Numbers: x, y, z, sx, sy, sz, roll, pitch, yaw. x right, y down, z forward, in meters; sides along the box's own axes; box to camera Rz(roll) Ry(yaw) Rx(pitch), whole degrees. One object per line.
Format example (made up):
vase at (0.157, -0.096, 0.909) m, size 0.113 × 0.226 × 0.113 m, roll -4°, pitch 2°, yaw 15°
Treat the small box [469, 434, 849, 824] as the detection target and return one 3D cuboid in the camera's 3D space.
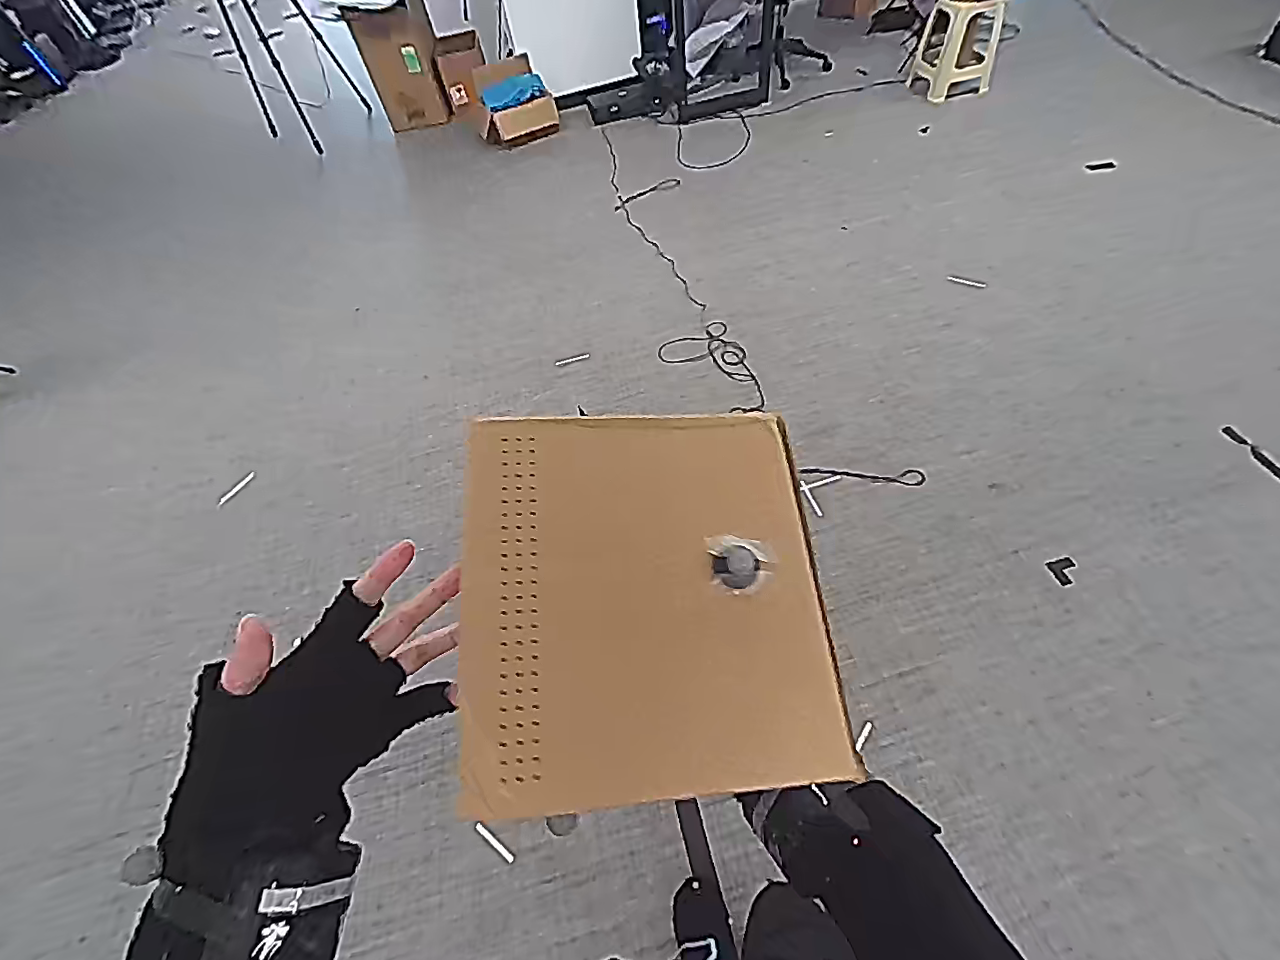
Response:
small box at (-0.008, 0.086, 0.330) m, size 0.176 × 0.168 × 0.179 m, roll -2°, pitch 67°, yaw -9°
